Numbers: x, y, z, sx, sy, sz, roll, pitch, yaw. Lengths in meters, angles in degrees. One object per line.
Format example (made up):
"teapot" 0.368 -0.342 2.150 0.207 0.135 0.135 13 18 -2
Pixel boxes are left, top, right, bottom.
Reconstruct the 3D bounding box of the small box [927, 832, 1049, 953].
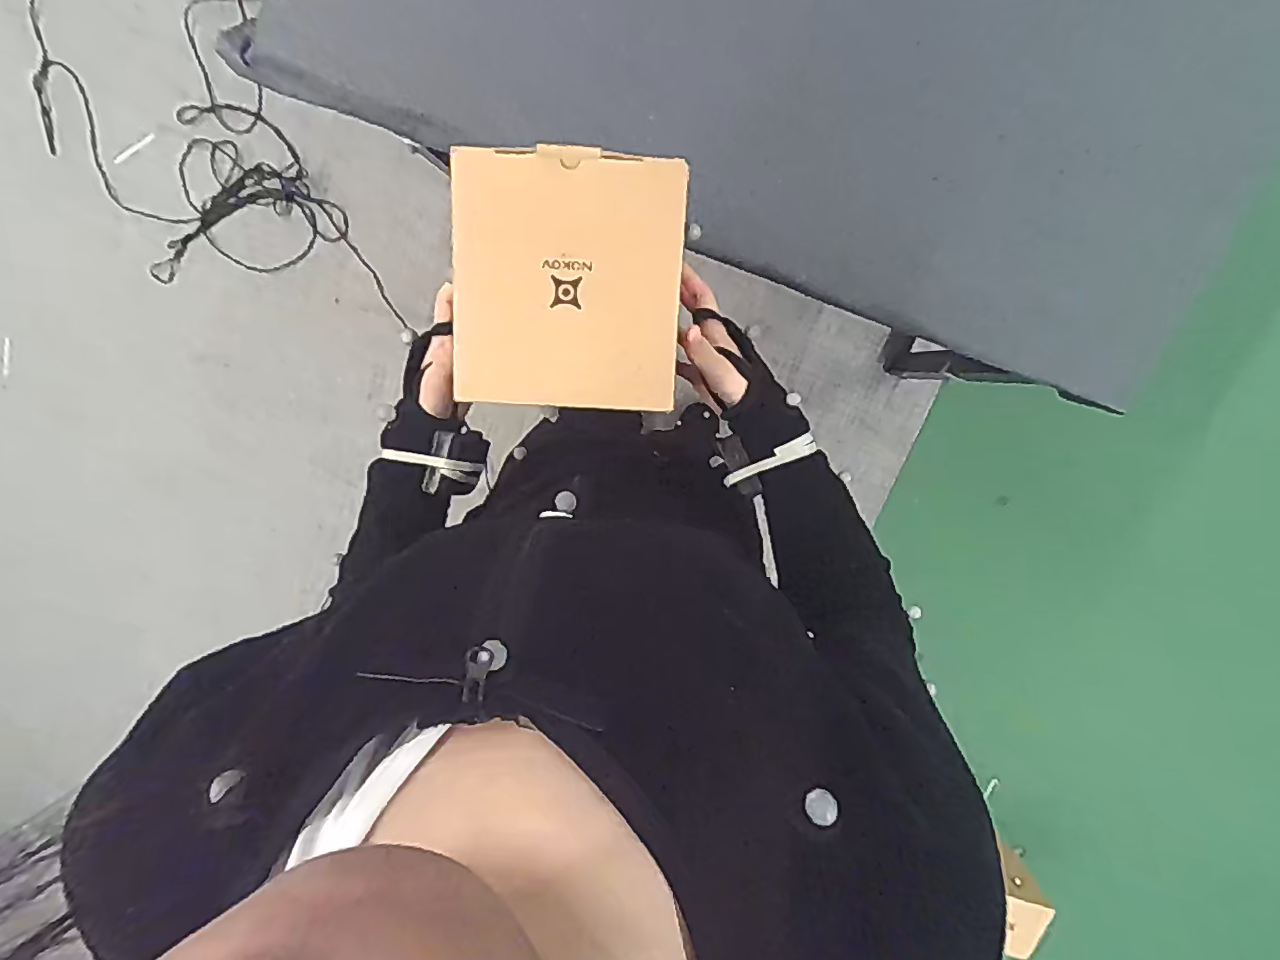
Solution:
"small box" 0.895 1.063 1.407 0.179 0.176 0.168 18 102 0

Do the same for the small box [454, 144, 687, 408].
"small box" -0.052 -0.160 0.470 0.168 0.176 0.179 3 101 -1
